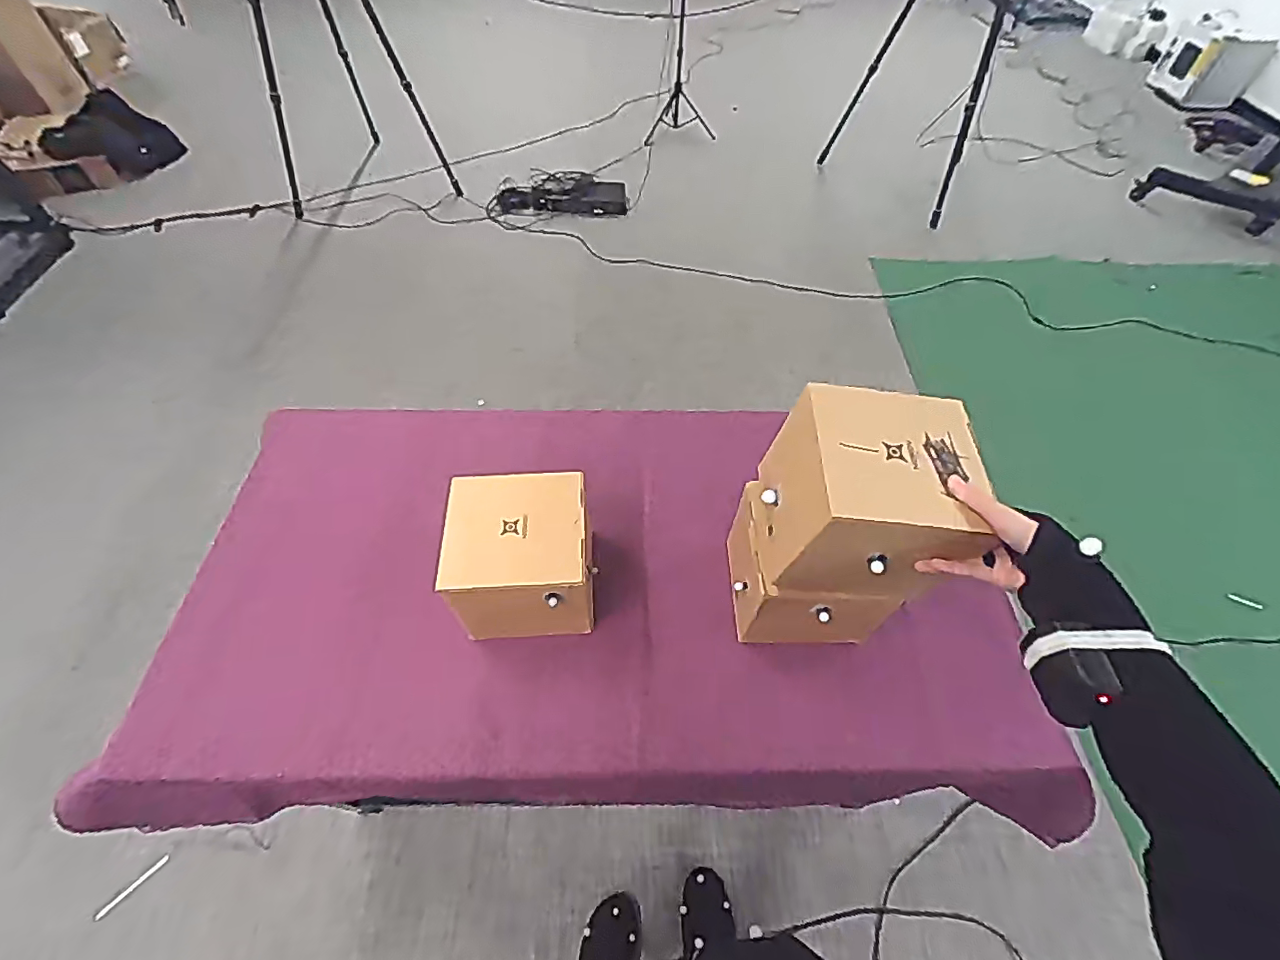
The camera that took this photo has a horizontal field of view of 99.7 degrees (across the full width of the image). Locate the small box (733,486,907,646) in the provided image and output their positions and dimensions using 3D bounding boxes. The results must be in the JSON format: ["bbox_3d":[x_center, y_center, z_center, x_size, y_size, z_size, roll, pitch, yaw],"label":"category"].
[{"bbox_3d":[0.228,0.122,0.745,0.179,0.176,0.168,1,55,-1],"label":"small box"}]

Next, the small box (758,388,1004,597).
[{"bbox_3d":[0.246,0.022,0.602,0.179,0.176,0.168,5,57,-5],"label":"small box"}]

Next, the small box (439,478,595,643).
[{"bbox_3d":[-0.157,0.115,0.747,0.179,0.176,0.168,-3,54,-4],"label":"small box"}]
